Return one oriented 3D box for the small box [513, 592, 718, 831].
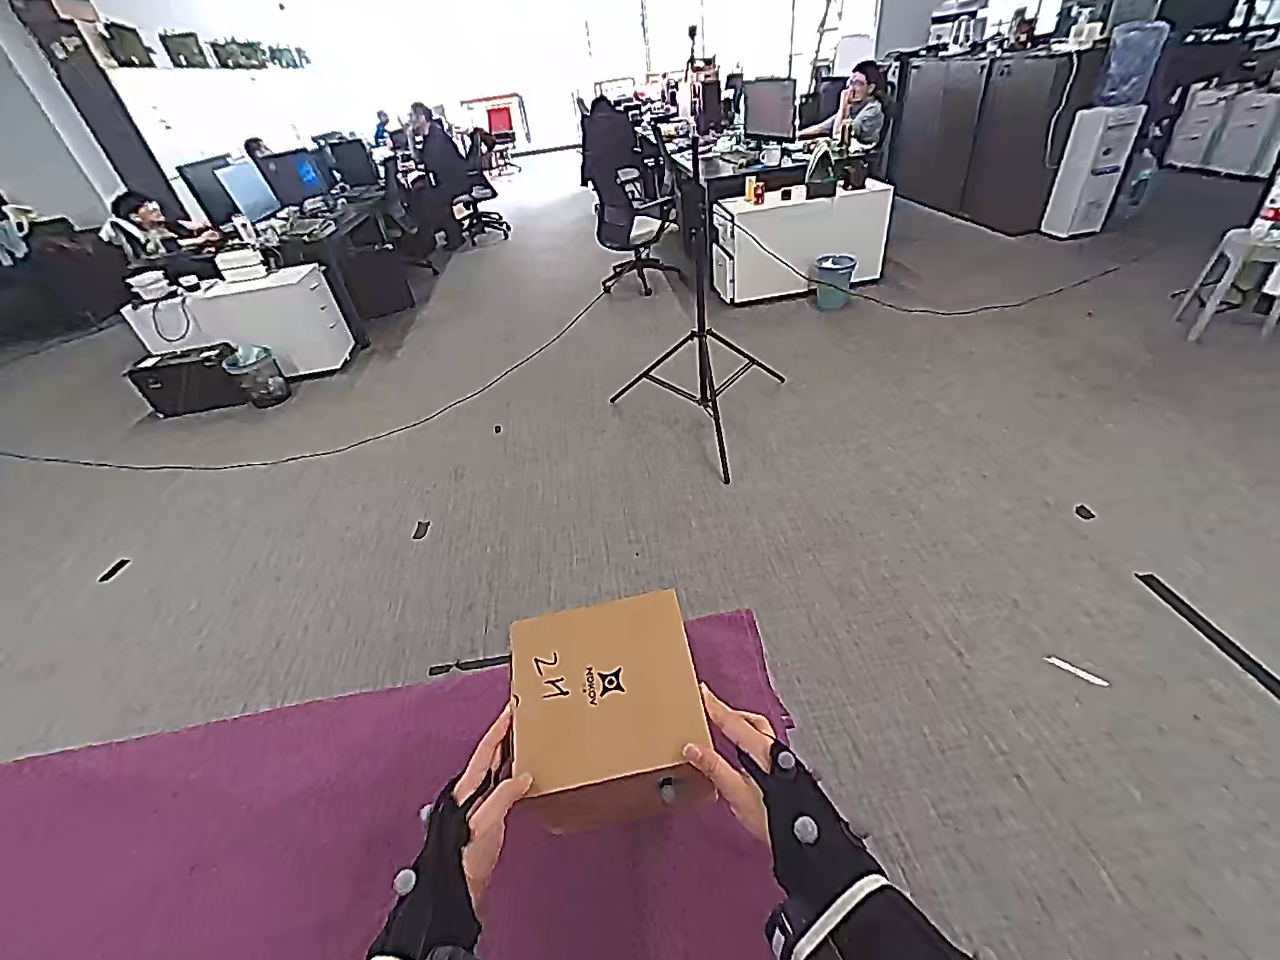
[{"bbox_3d":[-0.023,0.242,0.560,0.179,0.176,0.168,-12,47,-1],"label":"small box"}]
